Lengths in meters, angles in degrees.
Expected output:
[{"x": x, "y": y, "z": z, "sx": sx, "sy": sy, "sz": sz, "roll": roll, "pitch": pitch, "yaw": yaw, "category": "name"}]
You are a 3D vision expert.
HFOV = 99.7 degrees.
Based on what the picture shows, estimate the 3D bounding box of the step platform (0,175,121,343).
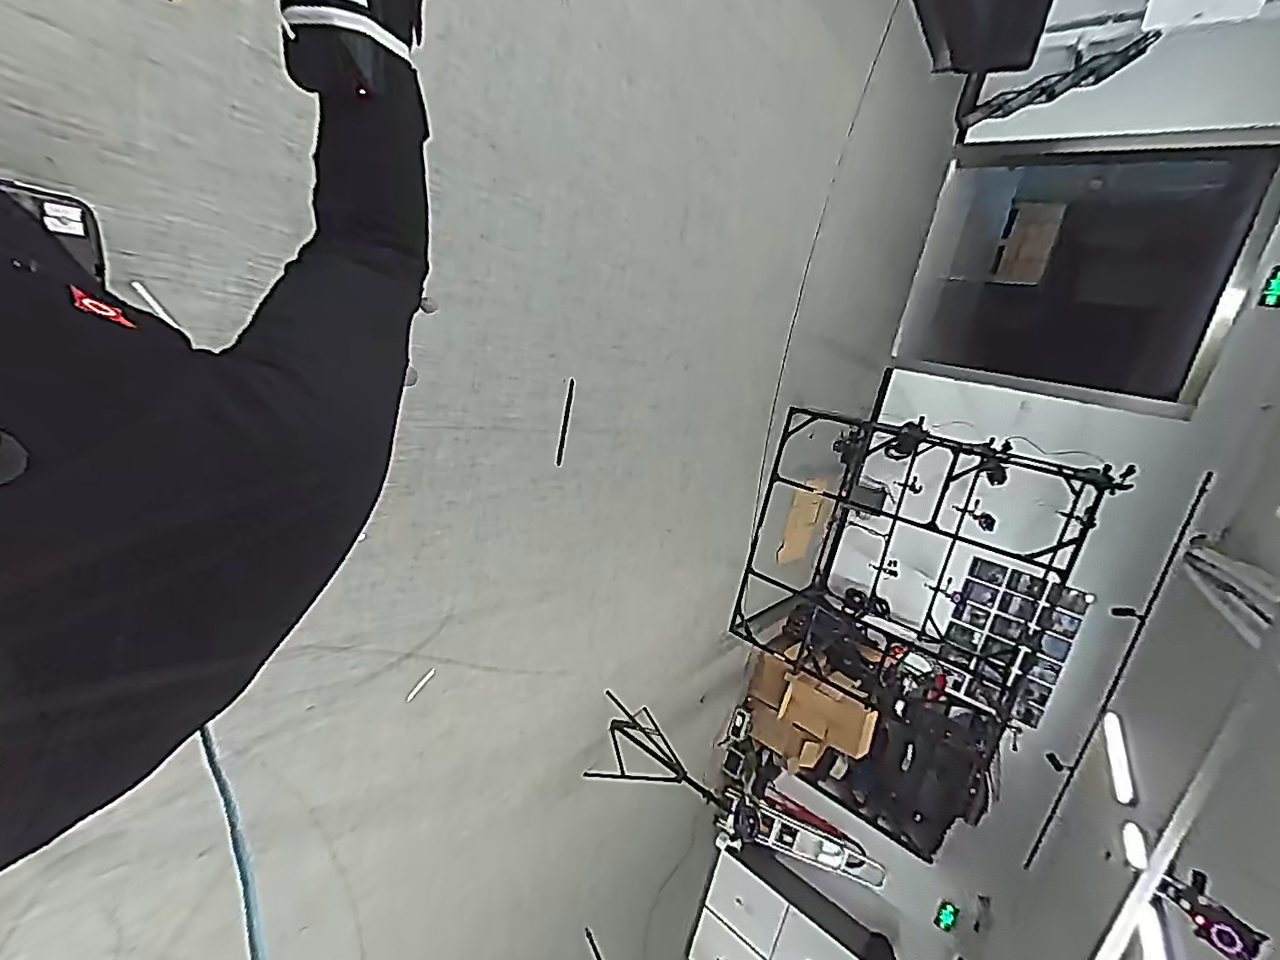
[{"x": -1.298, "y": -0.403, "z": 0.859, "sx": 0.684, "sy": 0.204, "sz": 0.286, "roll": -8, "pitch": 114, "yaw": -53, "category": "step platform"}]
